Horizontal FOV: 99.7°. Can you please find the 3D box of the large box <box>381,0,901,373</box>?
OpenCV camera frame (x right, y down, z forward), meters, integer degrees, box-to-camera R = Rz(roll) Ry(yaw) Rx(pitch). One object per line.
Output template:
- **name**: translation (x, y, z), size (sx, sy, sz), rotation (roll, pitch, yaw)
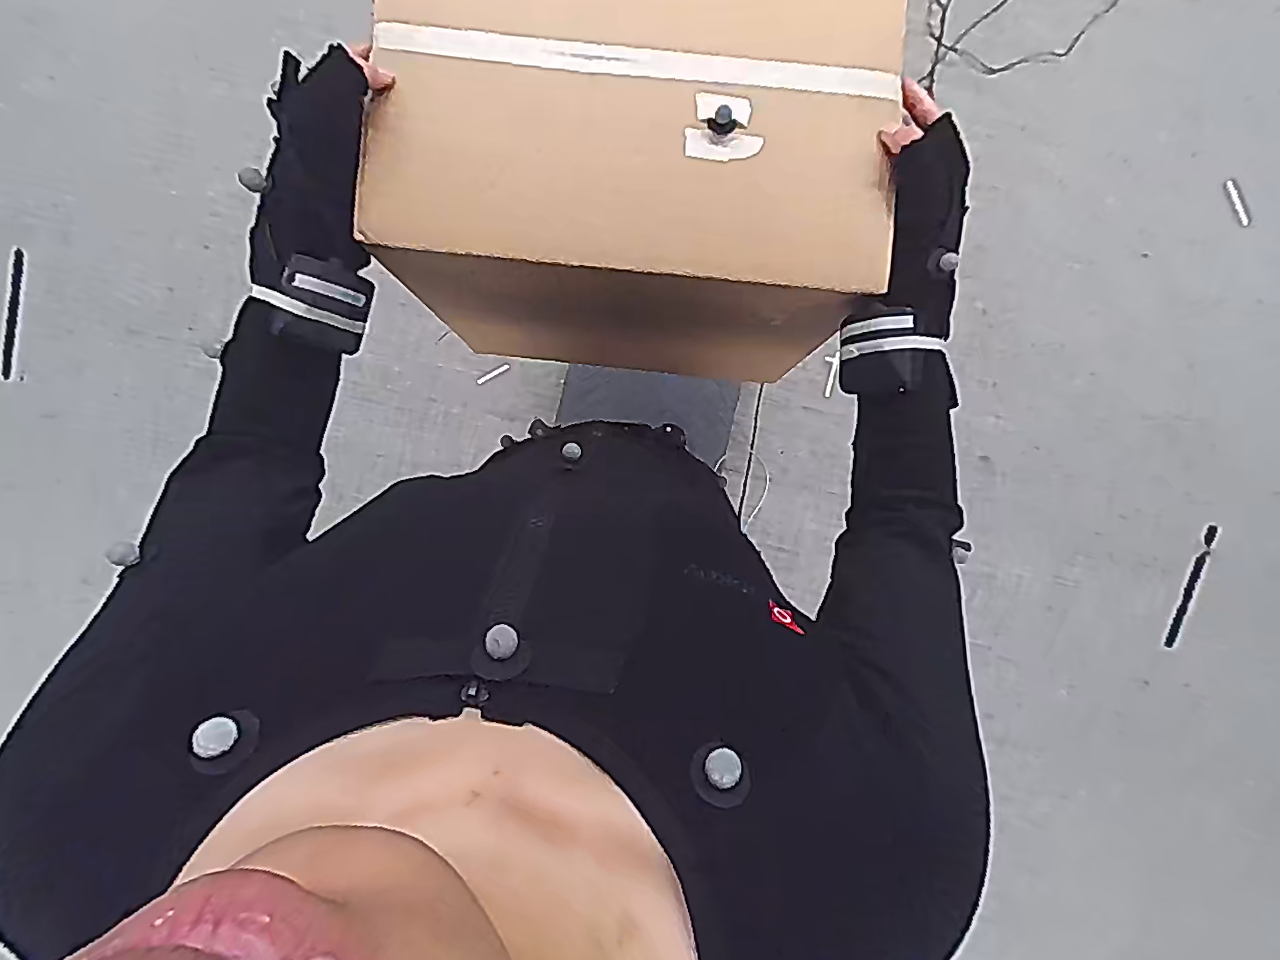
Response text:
- **large box**: translation (0.001, -0.314, 0.578), size (0.408, 0.320, 0.320), rotation (5, 88, -1)
